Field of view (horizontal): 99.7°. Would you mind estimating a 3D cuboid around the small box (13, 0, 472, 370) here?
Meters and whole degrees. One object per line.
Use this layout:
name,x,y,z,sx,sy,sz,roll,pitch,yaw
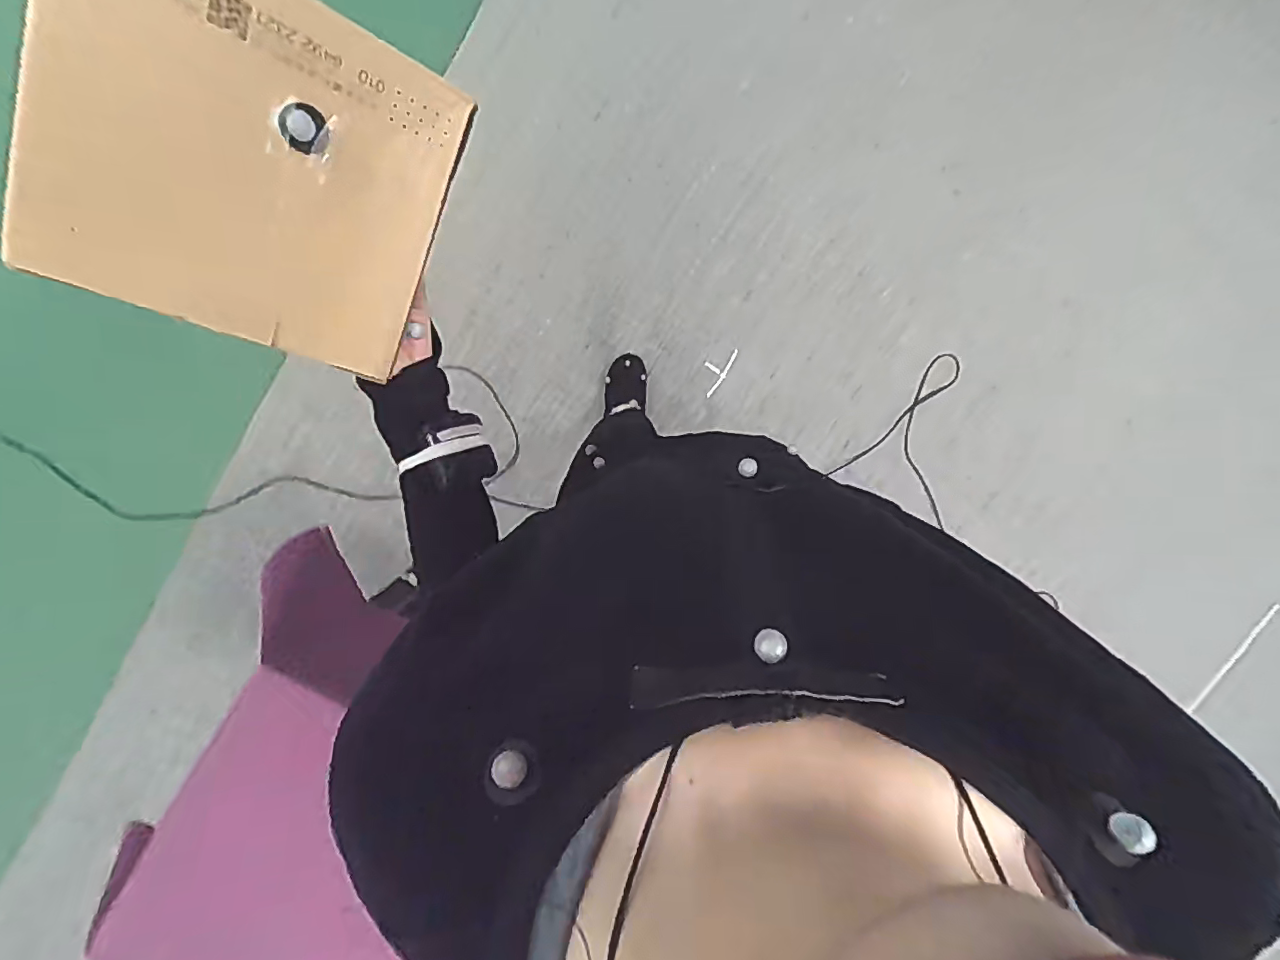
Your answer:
small box,-0.218,-0.194,0.336,0.168,0.179,0.176,17,107,-30
